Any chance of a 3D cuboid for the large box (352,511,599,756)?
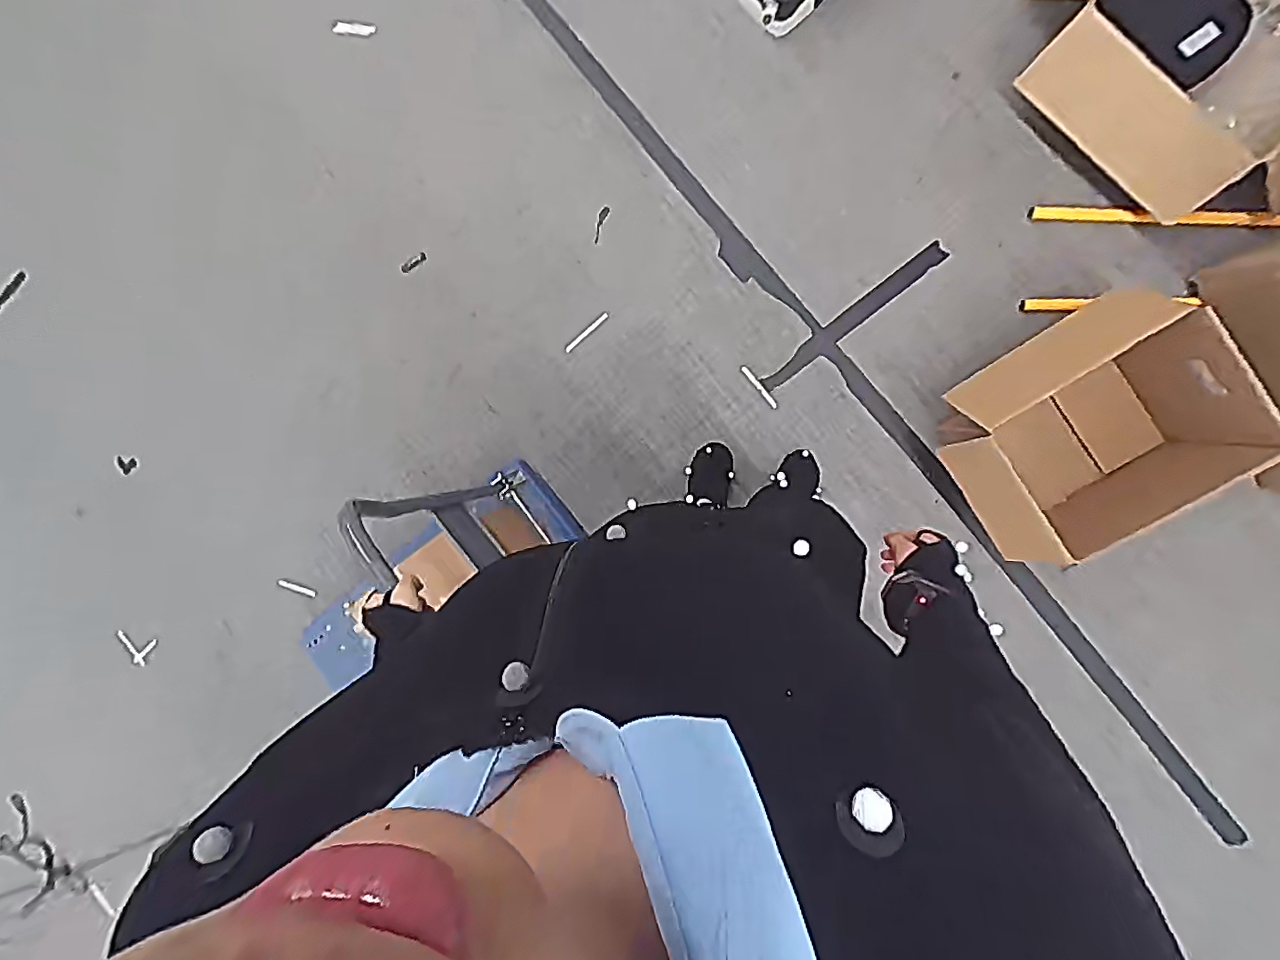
[{"bbox_3d":[-0.364,0.337,1.281,0.320,0.320,0.408,-37,87,12],"label":"large box"}]
